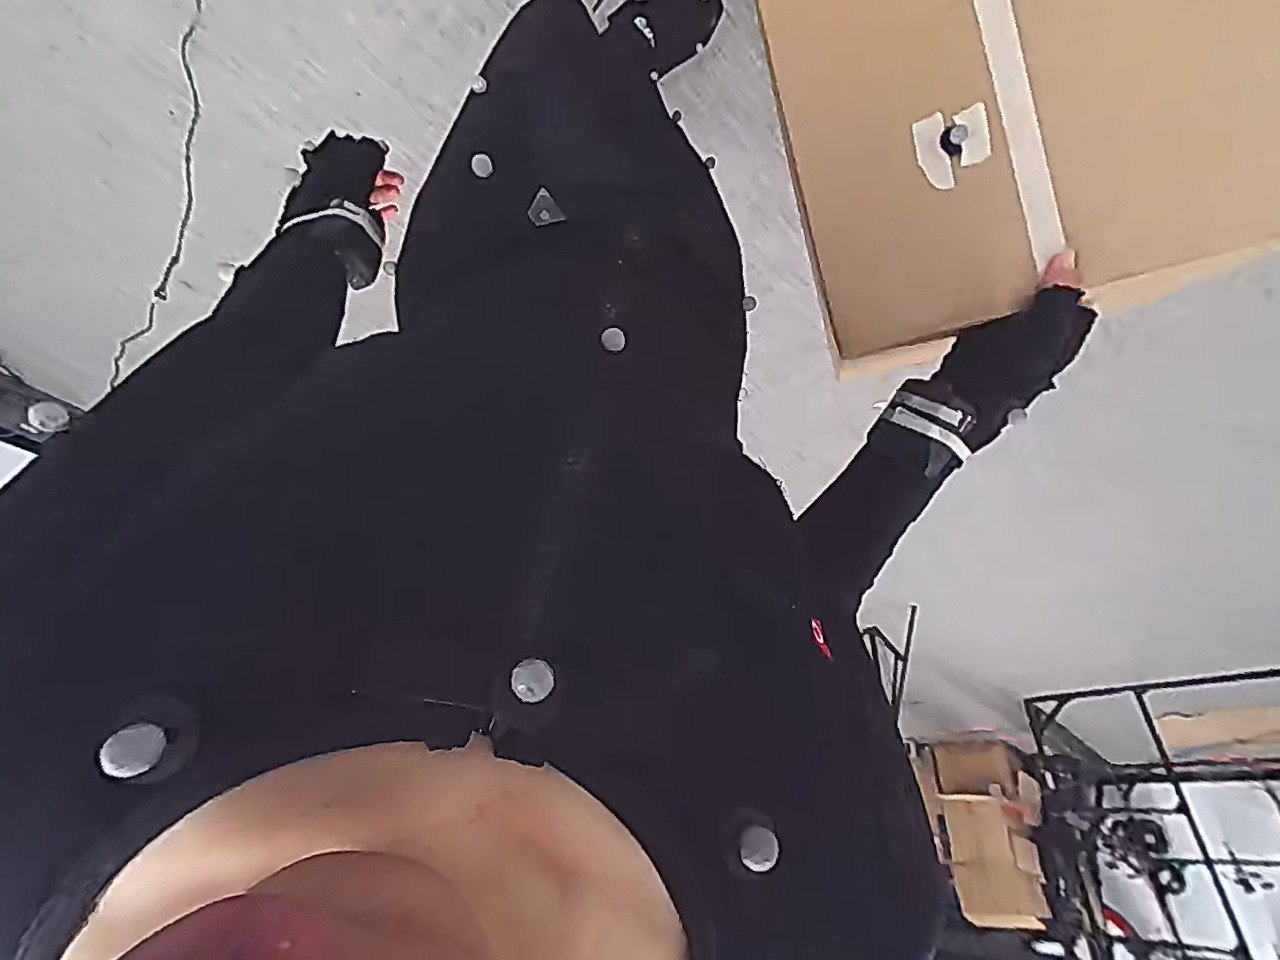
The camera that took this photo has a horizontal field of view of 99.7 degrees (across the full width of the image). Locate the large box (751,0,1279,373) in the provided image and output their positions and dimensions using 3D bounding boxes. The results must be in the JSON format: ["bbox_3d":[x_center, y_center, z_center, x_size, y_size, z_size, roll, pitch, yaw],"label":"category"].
[{"bbox_3d":[0.317,-0.352,0.549,0.320,0.408,0.320,-13,-178,21],"label":"large box"}]
